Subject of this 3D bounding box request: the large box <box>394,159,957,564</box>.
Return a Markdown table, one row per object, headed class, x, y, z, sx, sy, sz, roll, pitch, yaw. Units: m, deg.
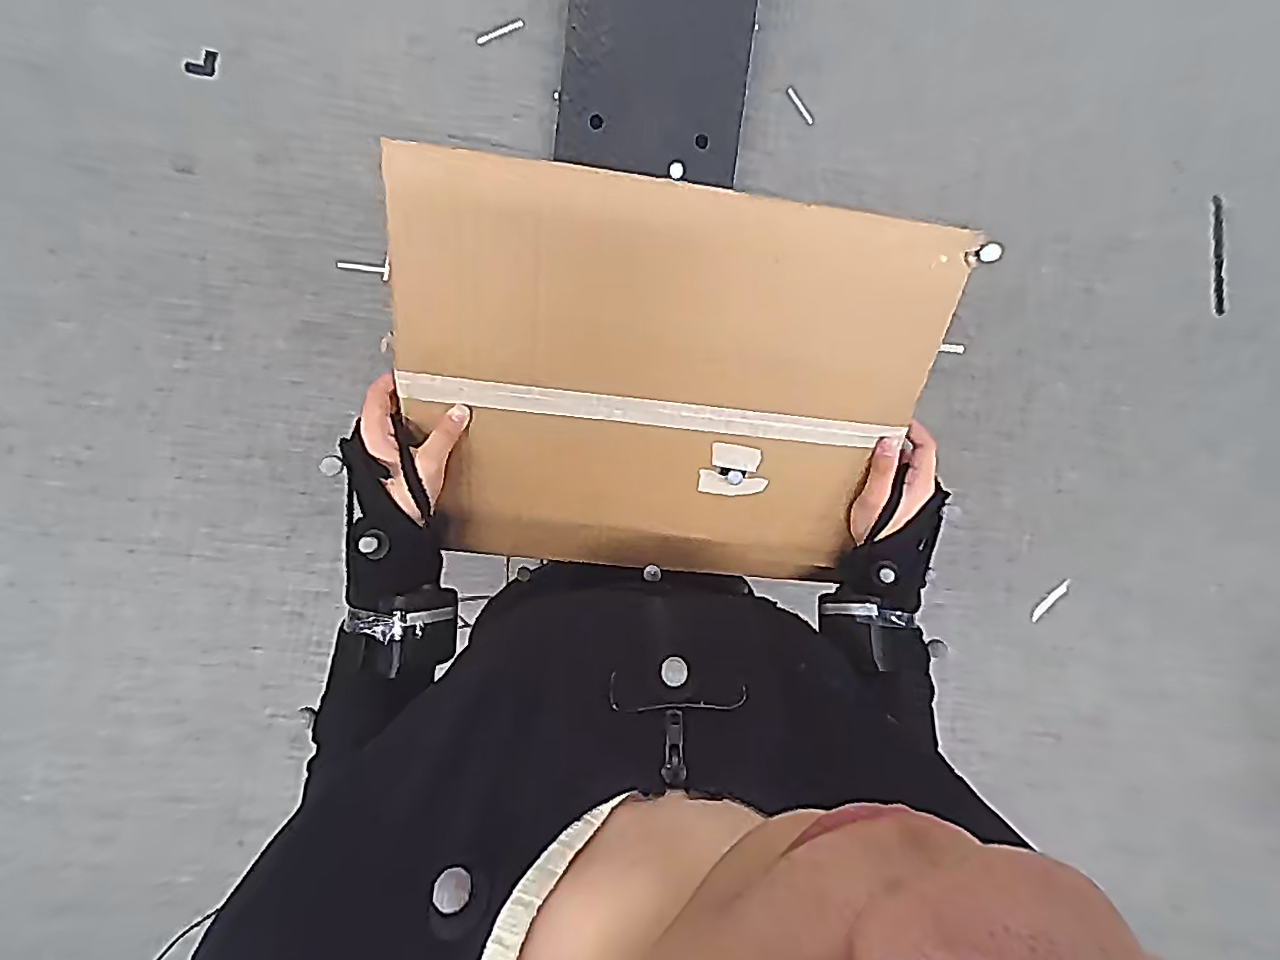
| class | x | y | z | sx | sy | sz | roll | pitch | yaw |
| --- | --- | --- | --- | --- | --- | --- | --- | --- | --- |
| large box | 0.008 | -0.133 | 0.572 | 0.408 | 0.320 | 0.320 | 5 | 120 | -7 |
